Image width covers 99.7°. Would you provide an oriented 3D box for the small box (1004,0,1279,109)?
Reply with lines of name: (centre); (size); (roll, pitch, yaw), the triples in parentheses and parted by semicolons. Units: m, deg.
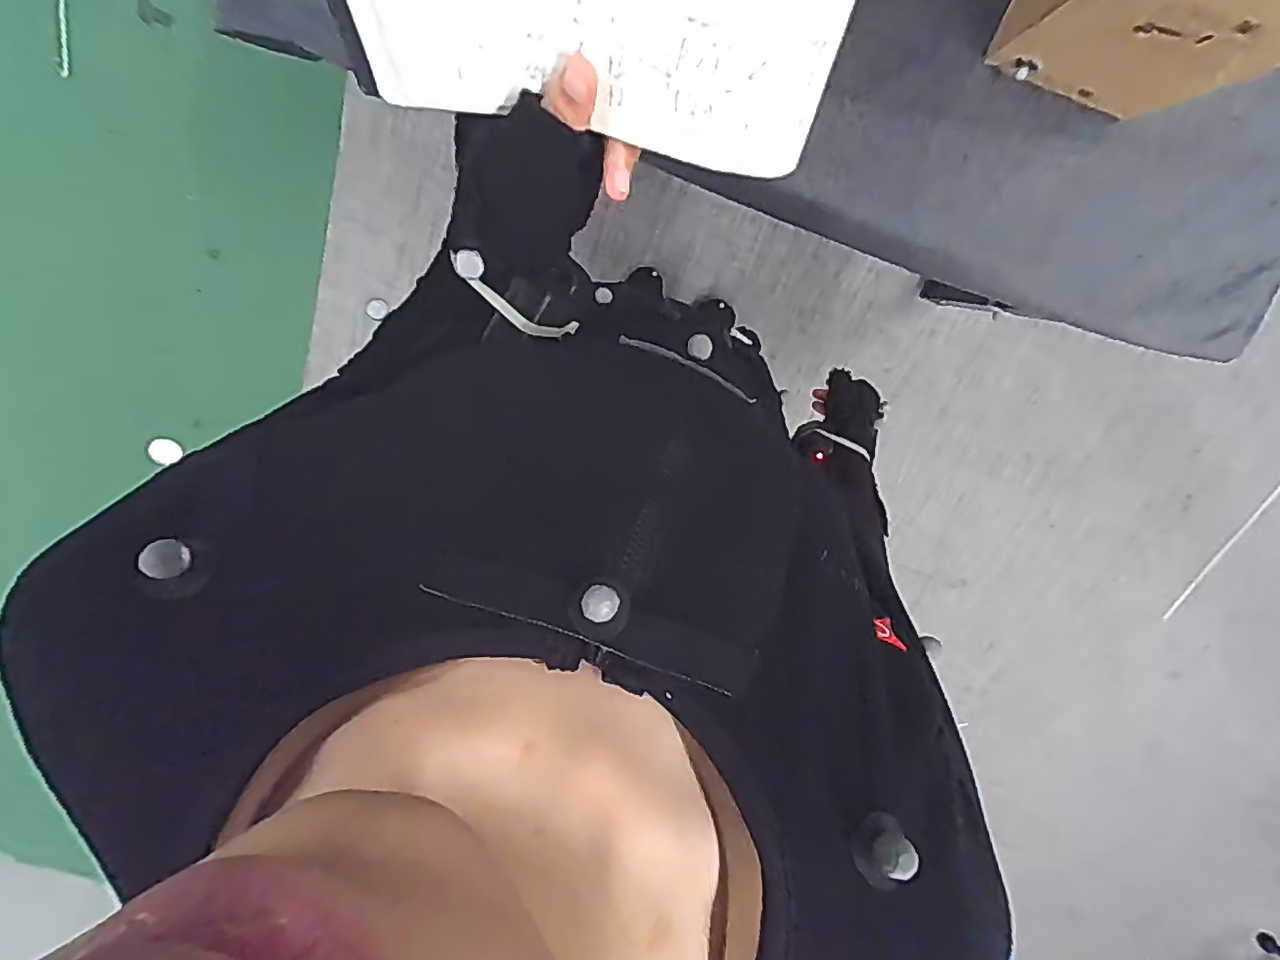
small box: (0.451, -0.450, 0.451); (0.168, 0.176, 0.179); (19, 110, -3)
